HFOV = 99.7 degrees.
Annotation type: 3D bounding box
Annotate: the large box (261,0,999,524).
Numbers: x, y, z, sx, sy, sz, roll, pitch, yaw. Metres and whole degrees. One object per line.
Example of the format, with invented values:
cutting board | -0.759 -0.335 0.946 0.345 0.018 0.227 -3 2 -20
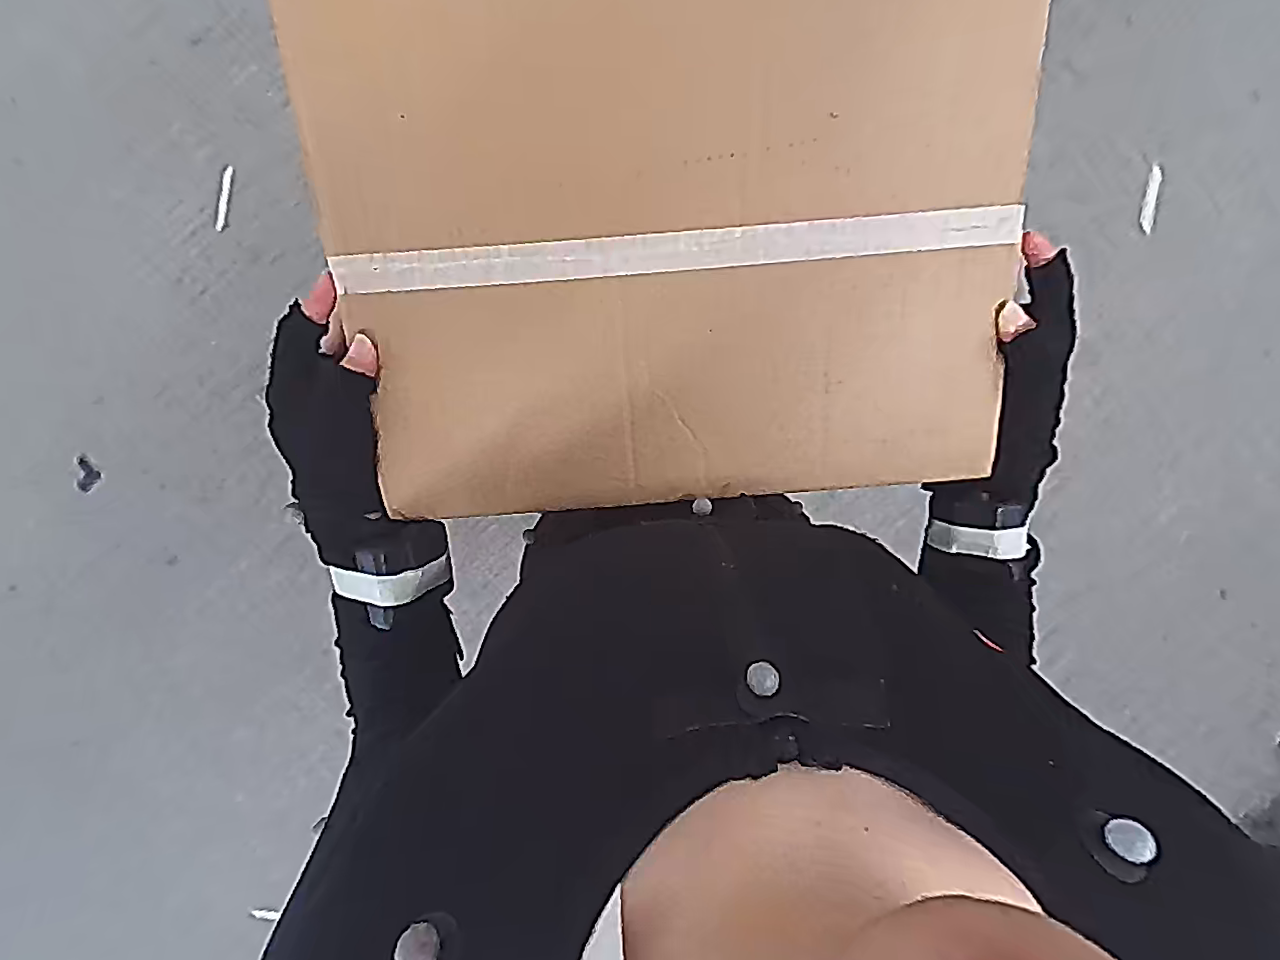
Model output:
large box | 0.006 -0.181 0.471 0.408 0.320 0.320 -6 107 0
